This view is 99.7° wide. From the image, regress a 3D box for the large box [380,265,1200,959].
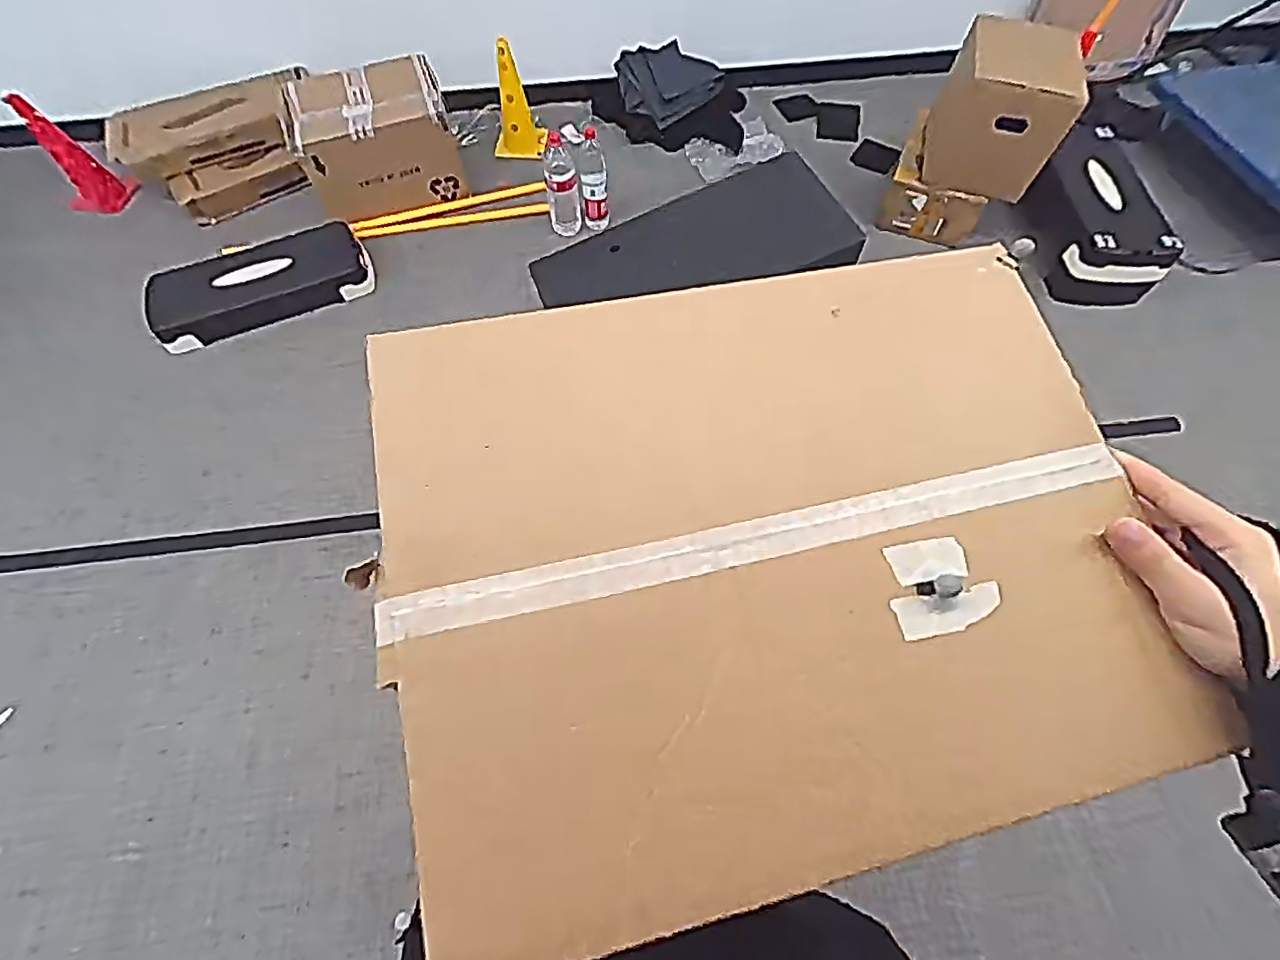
[{"bbox_3d":[0.061,0.078,0.440,0.408,0.320,0.320,-11,74,-9],"label":"large box"}]
